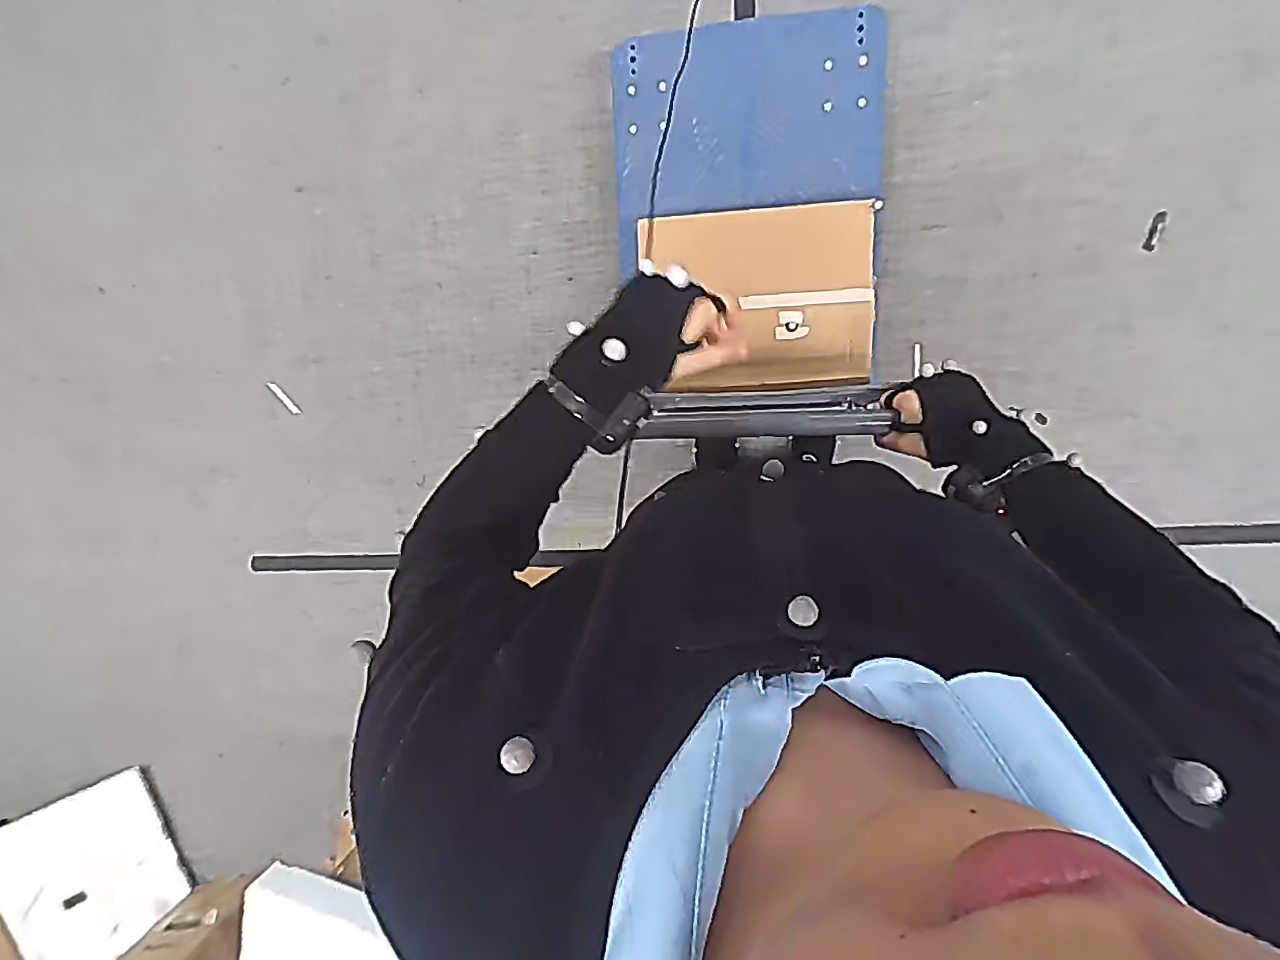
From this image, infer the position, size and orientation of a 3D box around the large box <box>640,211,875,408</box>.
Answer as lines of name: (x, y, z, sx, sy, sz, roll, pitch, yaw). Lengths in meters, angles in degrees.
large box: (0.221, -0.311, 1.093, 0.408, 0.320, 0.320, -1, 98, 8)
